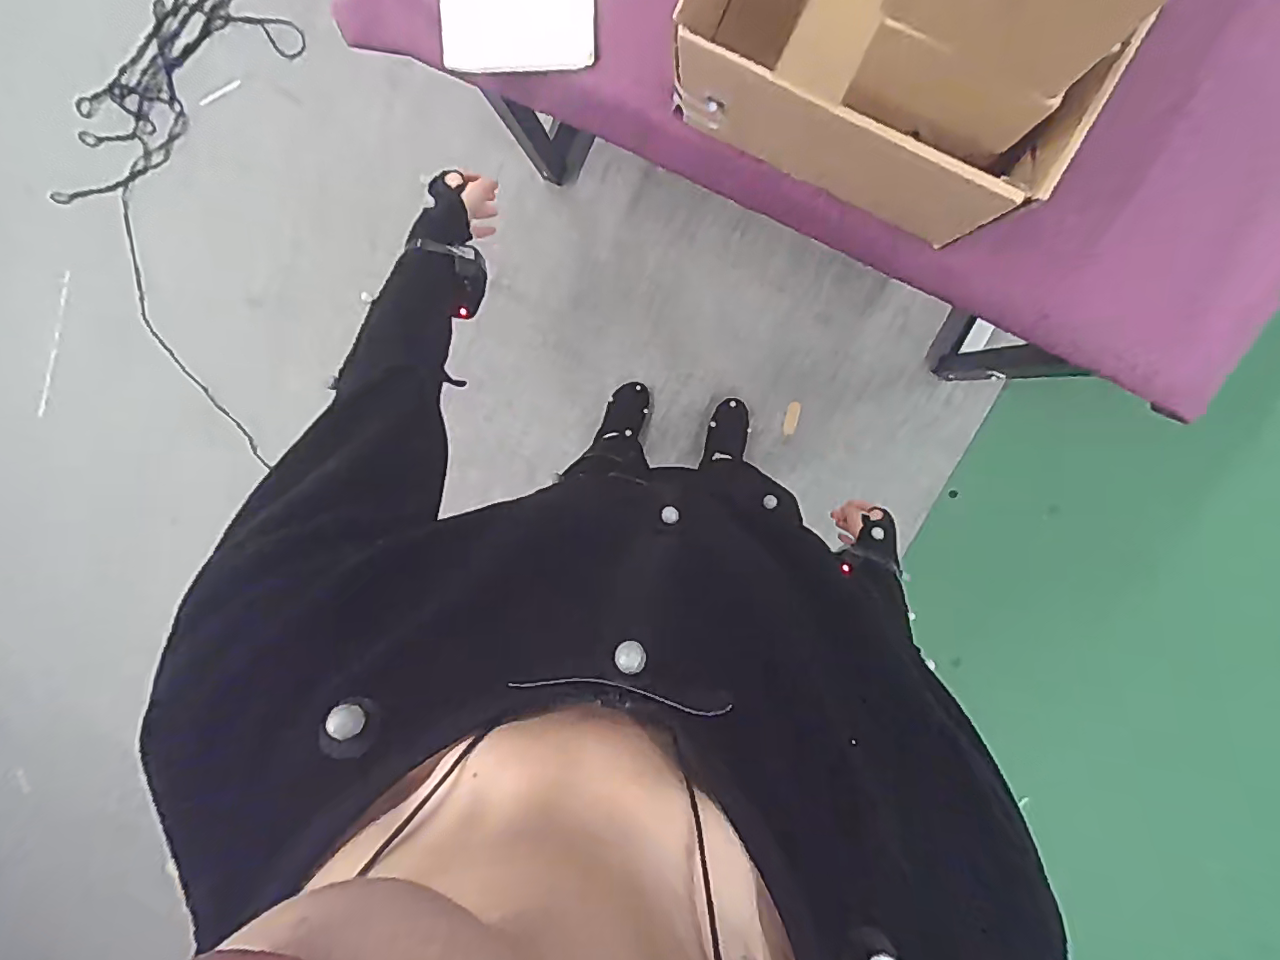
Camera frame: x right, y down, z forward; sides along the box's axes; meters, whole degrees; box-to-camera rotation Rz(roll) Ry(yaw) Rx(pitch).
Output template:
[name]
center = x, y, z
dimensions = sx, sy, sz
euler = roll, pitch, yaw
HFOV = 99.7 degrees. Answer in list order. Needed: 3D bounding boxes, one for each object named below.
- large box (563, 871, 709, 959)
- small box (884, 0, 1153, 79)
[large box]
center = -0.025, 1.441, 1.589
dimensions = 0.408, 0.320, 0.320
euler = 11, 101, 2
[small box]
center = 0.308, -0.428, 0.372
dimensions = 0.179, 0.176, 0.168
euler = 29, 99, 3
